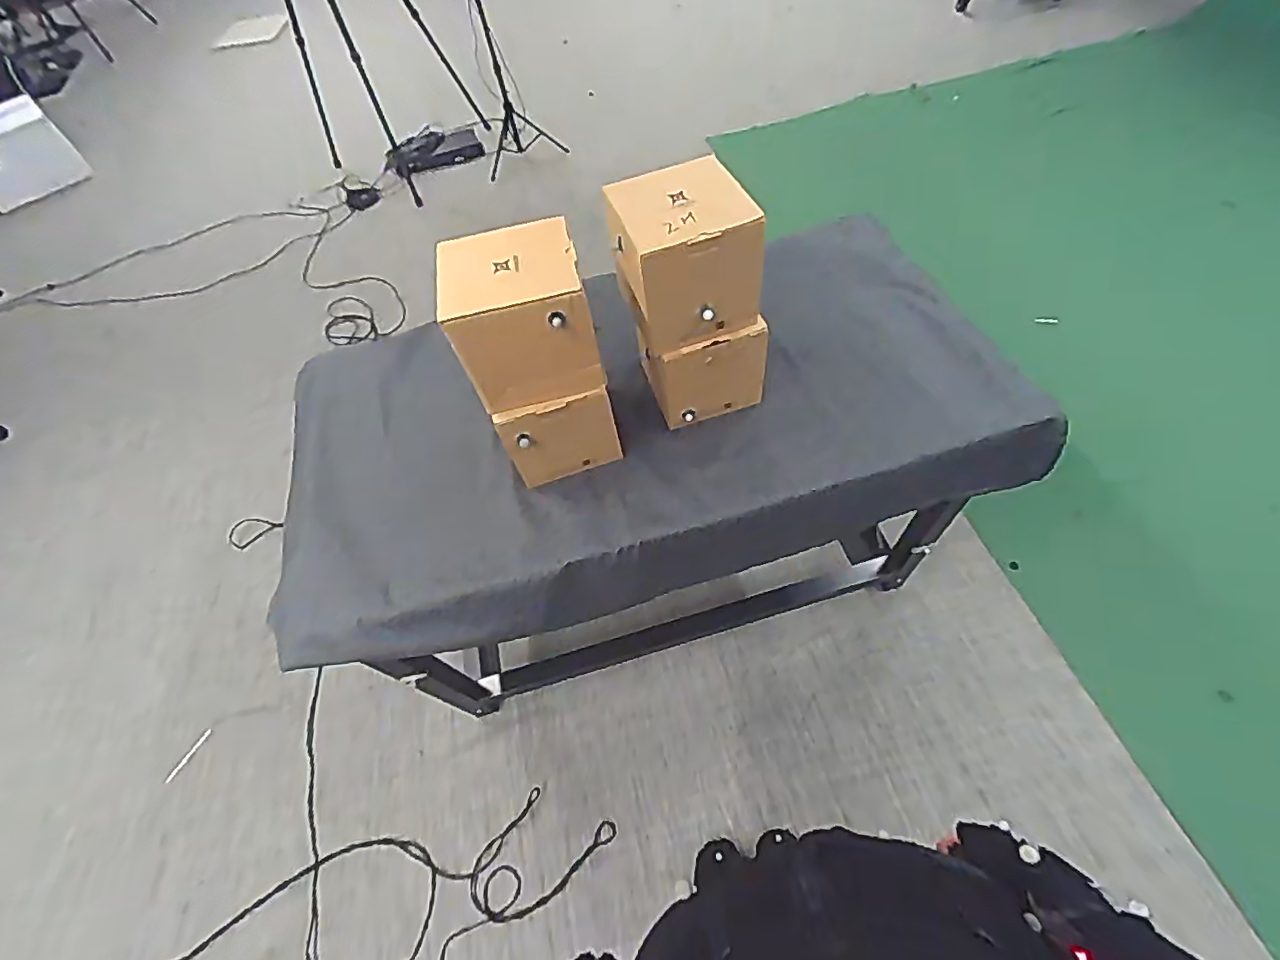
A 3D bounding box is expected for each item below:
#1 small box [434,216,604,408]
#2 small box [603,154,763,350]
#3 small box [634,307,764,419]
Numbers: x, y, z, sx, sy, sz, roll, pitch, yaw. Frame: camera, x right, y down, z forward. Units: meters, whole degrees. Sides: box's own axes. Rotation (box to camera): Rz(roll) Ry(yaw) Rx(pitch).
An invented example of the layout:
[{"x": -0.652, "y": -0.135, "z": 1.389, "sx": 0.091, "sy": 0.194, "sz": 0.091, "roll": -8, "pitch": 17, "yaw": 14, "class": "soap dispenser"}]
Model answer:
[{"x": -0.159, "y": -0.220, "z": 0.735, "sx": 0.179, "sy": 0.176, "sz": 0.168, "roll": -14, "pitch": 56, "yaw": -1, "class": "small box"}, {"x": 0.058, "y": -0.317, "z": 0.765, "sx": 0.168, "sy": 0.176, "sz": 0.179, "roll": -19, "pitch": 58, "yaw": -4, "class": "small box"}, {"x": 0.094, "y": -0.222, "z": 0.895, "sx": 0.168, "sy": 0.176, "sz": 0.179, "roll": -18, "pitch": 56, "yaw": -3, "class": "small box"}]
